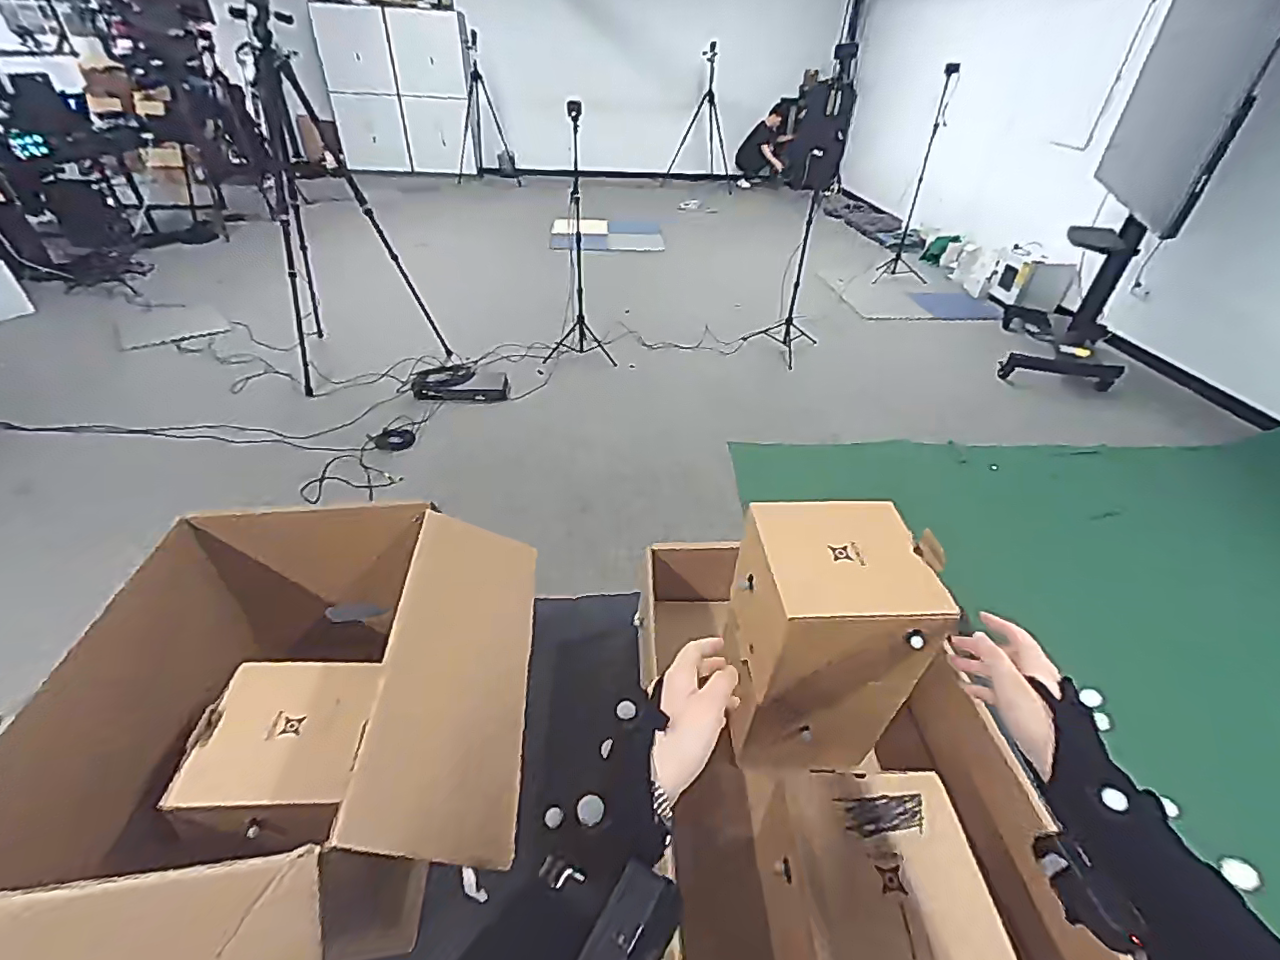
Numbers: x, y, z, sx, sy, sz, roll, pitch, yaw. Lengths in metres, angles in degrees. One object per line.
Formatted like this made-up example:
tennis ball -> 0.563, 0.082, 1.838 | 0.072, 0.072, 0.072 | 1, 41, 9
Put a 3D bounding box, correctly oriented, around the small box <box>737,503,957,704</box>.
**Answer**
small box -> 0.216, 0.143, 0.628 | 0.179, 0.176, 0.168 | 0, 39, -5
